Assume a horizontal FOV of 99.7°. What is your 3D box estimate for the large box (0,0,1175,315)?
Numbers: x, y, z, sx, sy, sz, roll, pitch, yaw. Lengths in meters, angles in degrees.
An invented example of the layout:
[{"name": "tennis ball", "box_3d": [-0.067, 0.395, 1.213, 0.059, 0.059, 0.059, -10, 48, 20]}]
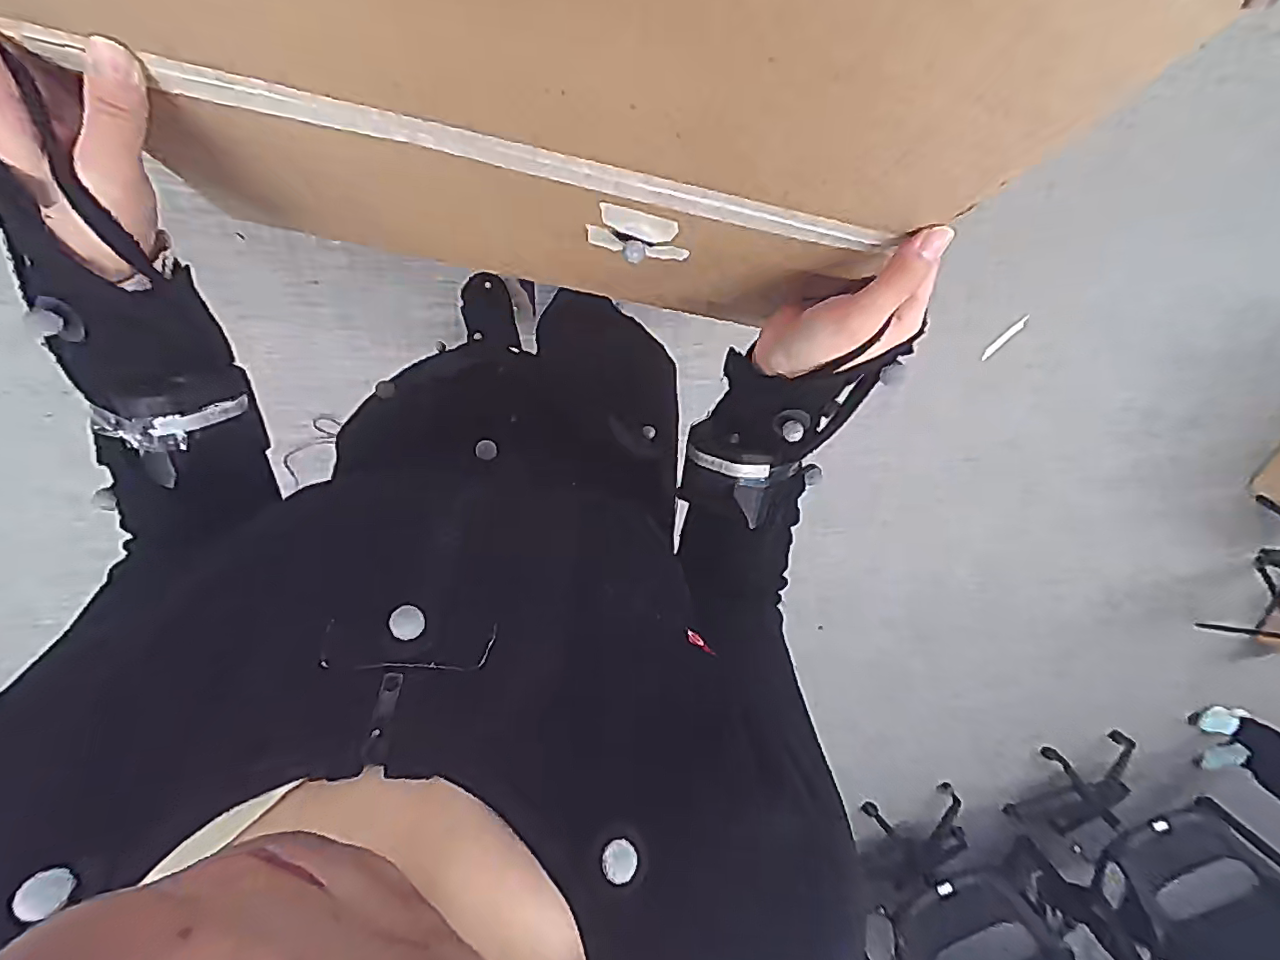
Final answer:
[{"name": "large box", "box_3d": [-0.040, -0.307, 0.251, 0.408, 0.320, 0.320, 9, 89, -7]}]
